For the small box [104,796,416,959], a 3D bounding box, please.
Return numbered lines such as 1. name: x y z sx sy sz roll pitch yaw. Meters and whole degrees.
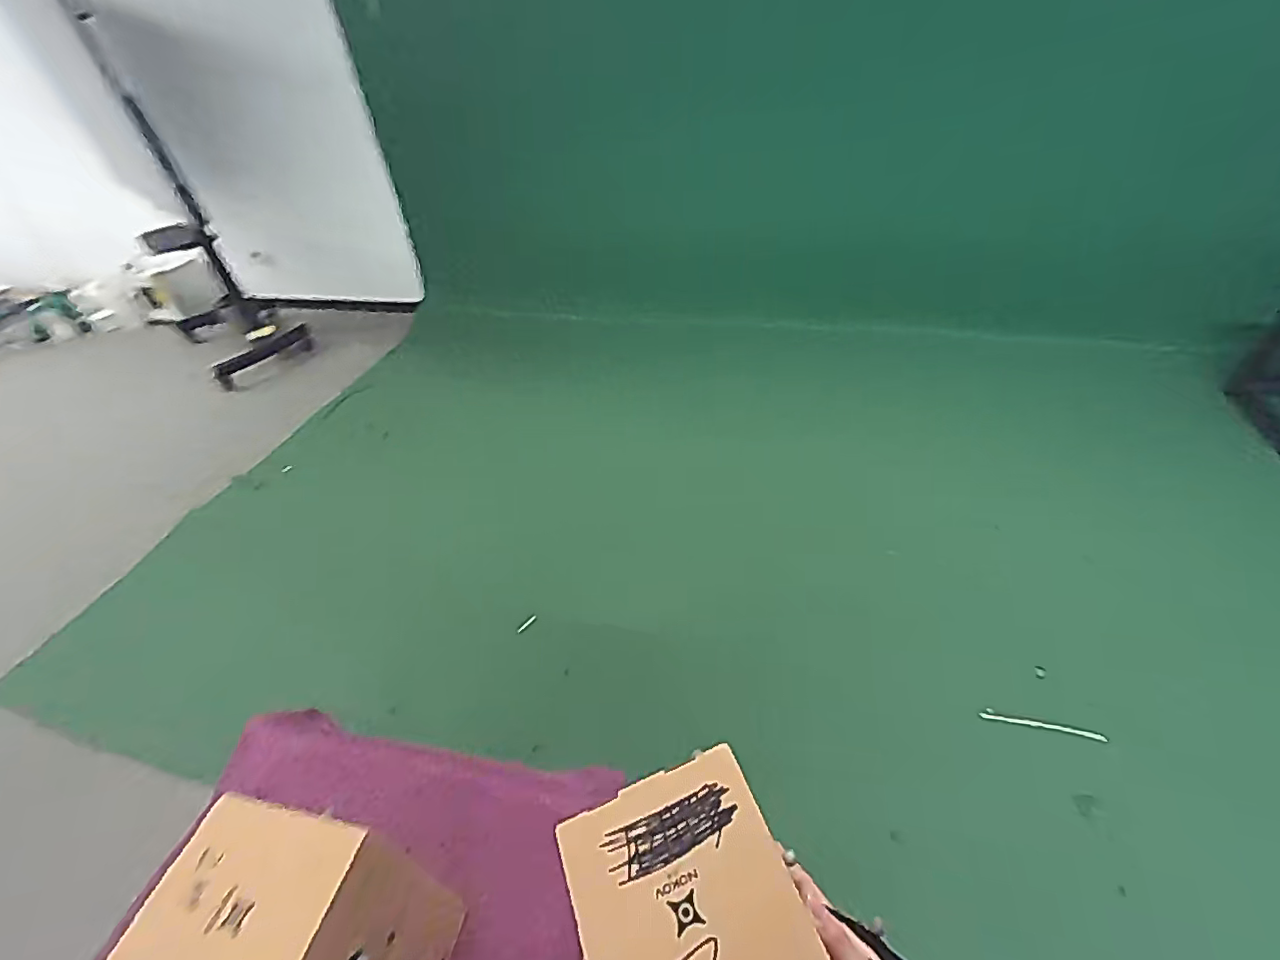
1. small box: -0.355 0.443 0.529 0.179 0.176 0.168 5 42 13
